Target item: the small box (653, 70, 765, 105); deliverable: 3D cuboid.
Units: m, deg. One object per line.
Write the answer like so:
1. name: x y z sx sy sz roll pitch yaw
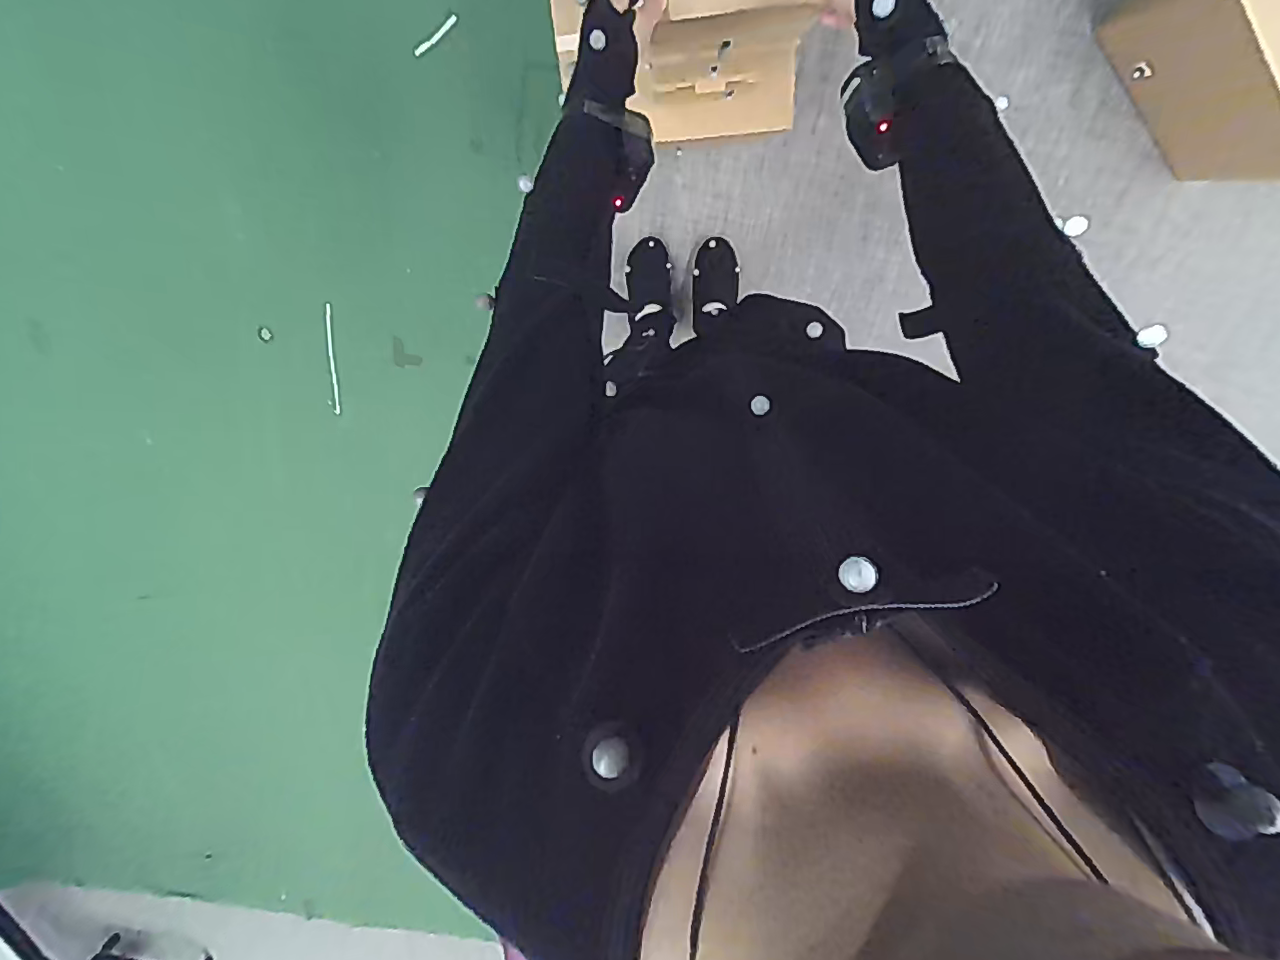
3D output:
1. small box: 0.100 -0.685 0.819 0.168 0.176 0.179 -3 117 4

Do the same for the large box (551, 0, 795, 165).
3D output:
1. large box: 0.069 -0.807 1.032 0.408 0.320 0.320 -3 116 6

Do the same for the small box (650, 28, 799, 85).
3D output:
1. small box: 0.095 -0.613 0.673 0.179 0.176 0.168 -4 118 5

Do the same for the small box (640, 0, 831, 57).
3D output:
1. small box: 0.085 -0.538 0.527 0.179 0.176 0.168 -4 117 3
